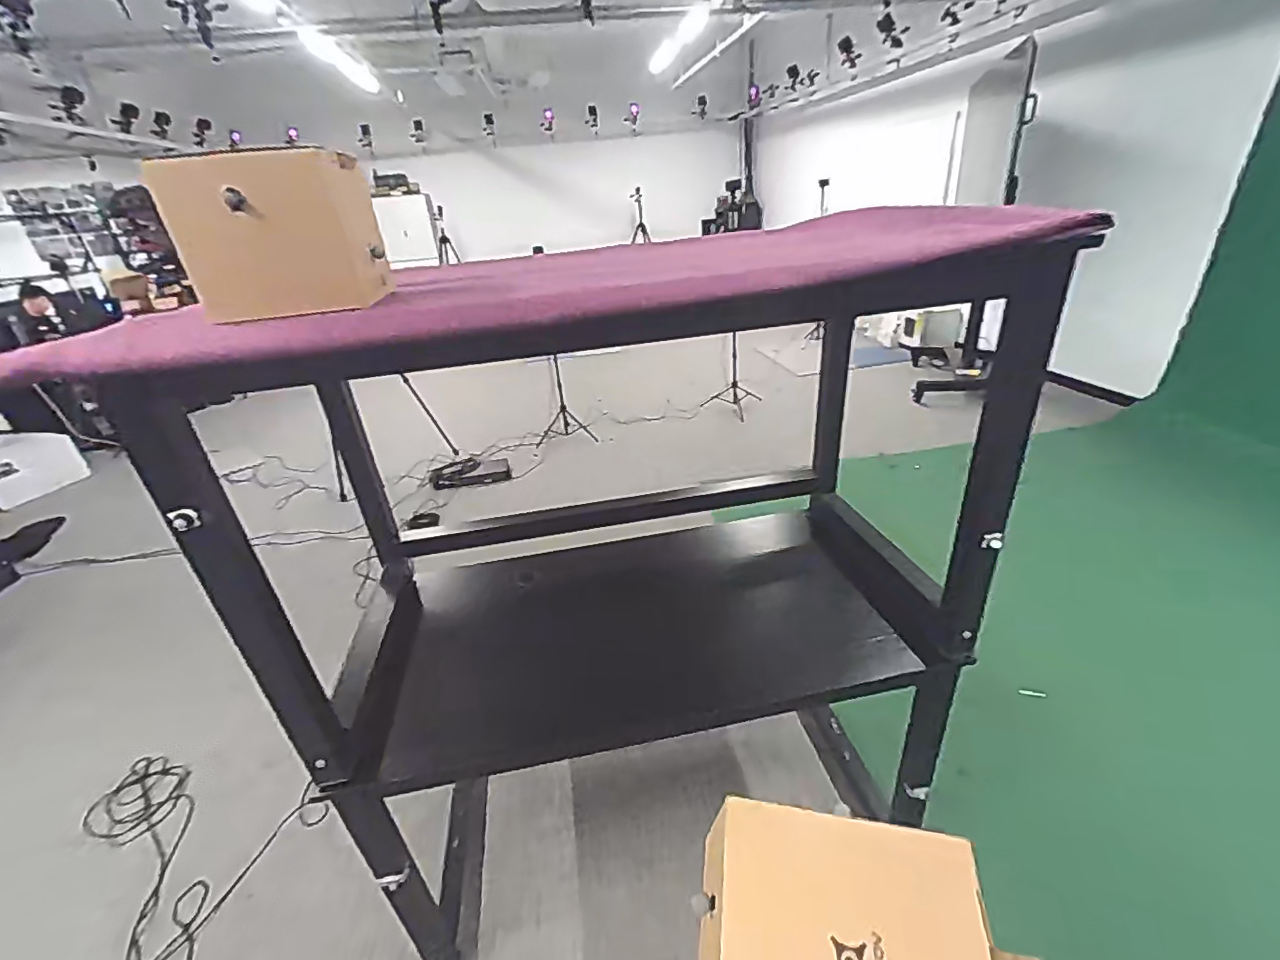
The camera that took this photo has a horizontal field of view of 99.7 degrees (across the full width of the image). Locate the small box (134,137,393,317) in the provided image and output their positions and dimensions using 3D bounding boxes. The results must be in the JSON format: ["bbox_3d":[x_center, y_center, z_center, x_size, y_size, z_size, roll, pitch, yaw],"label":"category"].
[{"bbox_3d":[-0.426,-0.300,0.652,0.179,0.176,0.168,-9,29,-7],"label":"small box"}]
